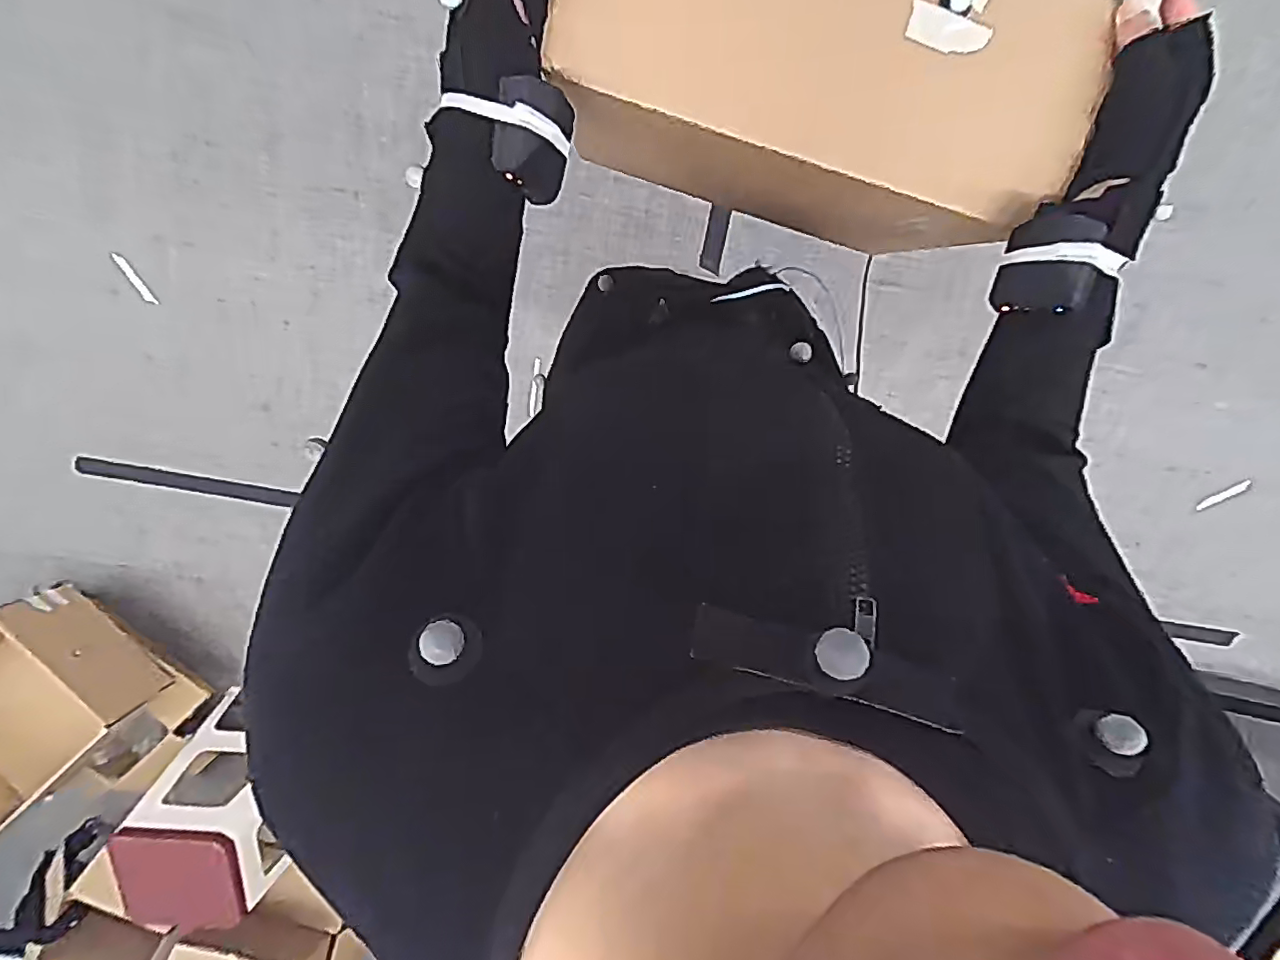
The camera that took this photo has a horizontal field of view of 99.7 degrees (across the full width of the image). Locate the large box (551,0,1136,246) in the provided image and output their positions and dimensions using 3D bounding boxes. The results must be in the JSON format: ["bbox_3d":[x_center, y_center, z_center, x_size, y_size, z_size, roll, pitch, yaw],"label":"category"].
[{"bbox_3d":[0.156,-0.438,0.503,0.408,0.320,0.320,14,111,-7],"label":"large box"}]
